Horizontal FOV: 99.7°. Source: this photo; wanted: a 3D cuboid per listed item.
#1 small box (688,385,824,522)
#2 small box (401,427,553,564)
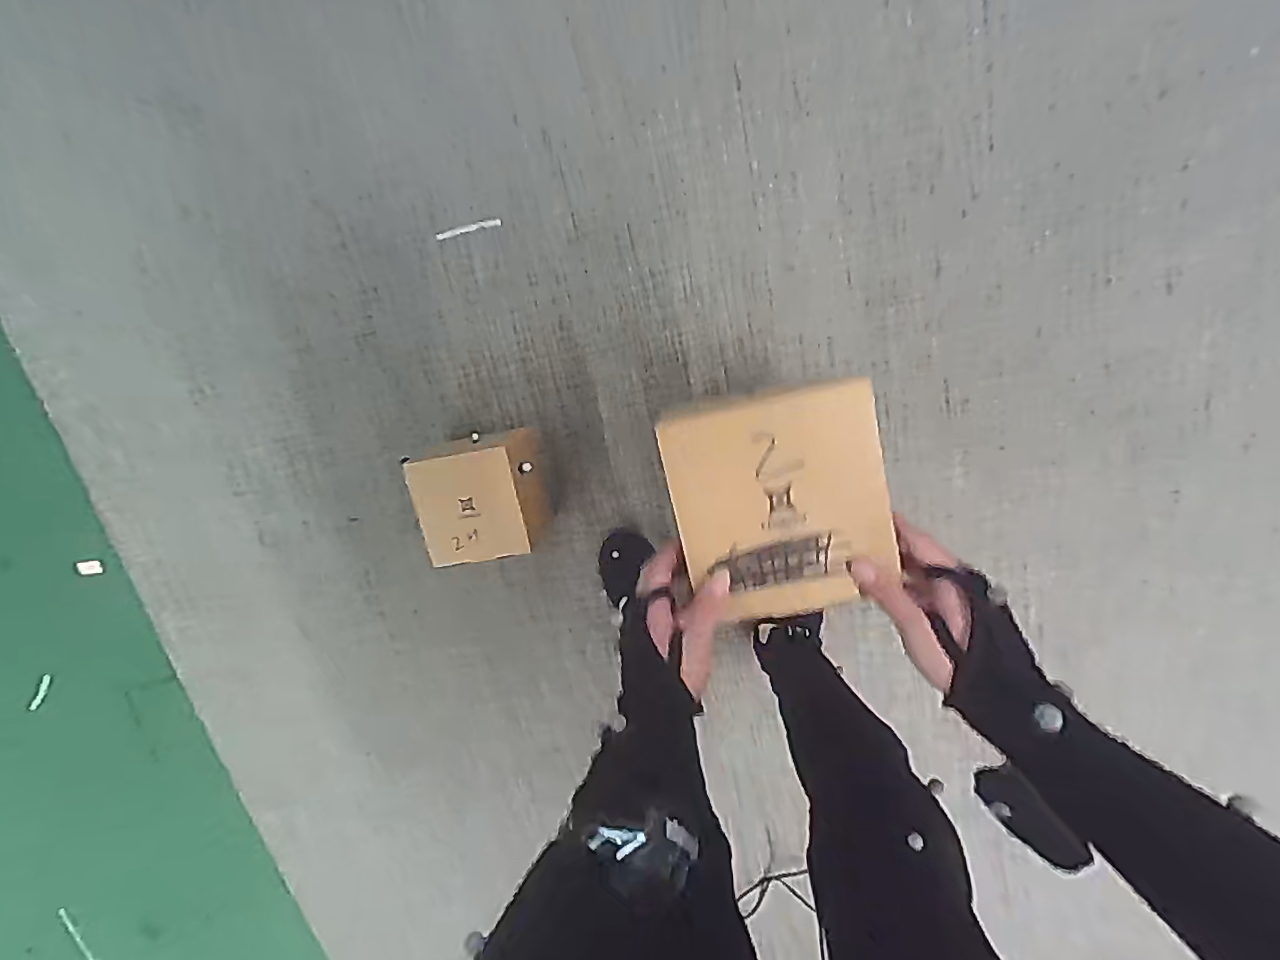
[{"bbox_3d":[0.171,-0.048,0.841,0.179,0.176,0.168,-9,106,6],"label":"small box"},{"bbox_3d":[-0.256,0.015,0.890,0.168,0.176,0.179,-10,105,7],"label":"small box"}]
